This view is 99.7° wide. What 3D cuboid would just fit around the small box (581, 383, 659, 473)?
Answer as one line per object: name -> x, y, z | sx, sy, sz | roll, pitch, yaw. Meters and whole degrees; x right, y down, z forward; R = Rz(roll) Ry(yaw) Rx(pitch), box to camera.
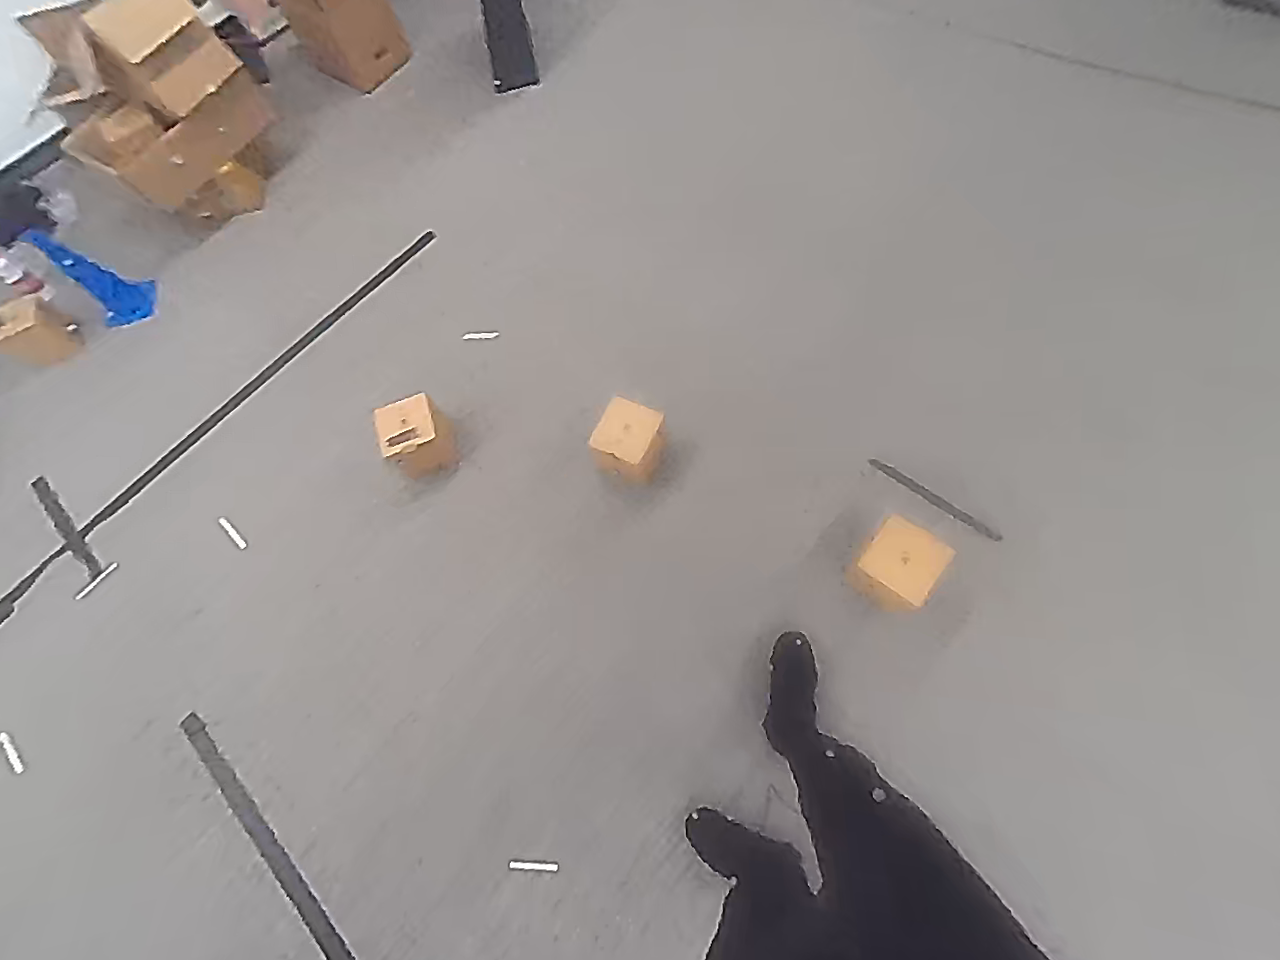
small box -> -0.052, -0.149, 1.593 | 0.168, 0.176, 0.179 | 24, 74, 14
